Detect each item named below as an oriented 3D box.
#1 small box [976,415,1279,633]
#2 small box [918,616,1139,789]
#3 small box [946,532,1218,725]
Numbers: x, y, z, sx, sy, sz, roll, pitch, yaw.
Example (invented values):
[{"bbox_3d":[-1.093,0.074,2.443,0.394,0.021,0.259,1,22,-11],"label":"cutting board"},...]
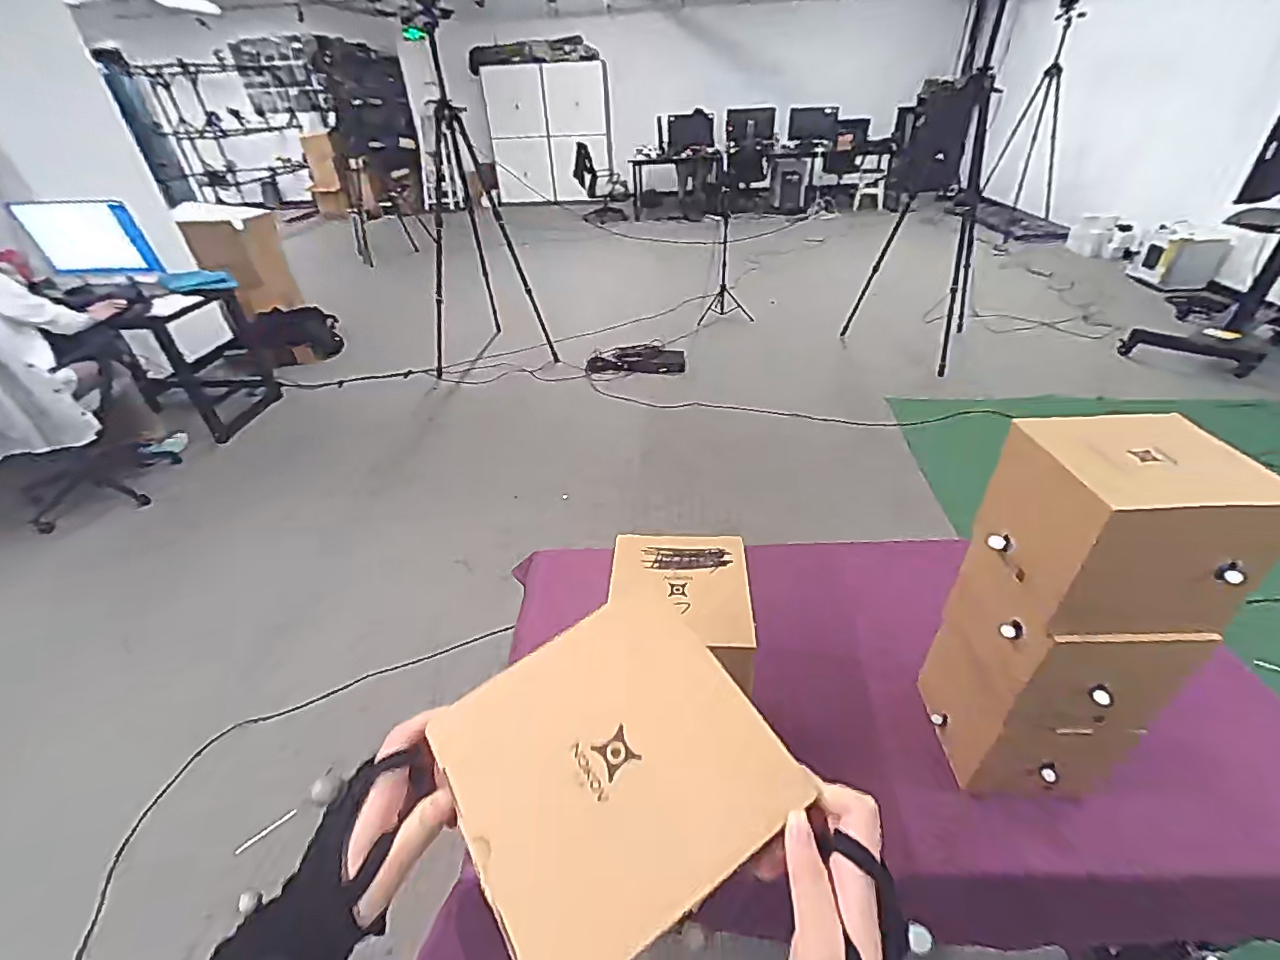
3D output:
[{"bbox_3d":[0.501,0.045,0.572,0.179,0.176,0.168,-2,35,3],"label":"small box"},{"bbox_3d":[0.523,0.313,0.762,0.168,0.176,0.179,-1,37,3],"label":"small box"},{"bbox_3d":[0.513,0.180,0.665,0.168,0.176,0.179,-1,36,3],"label":"small box"}]
